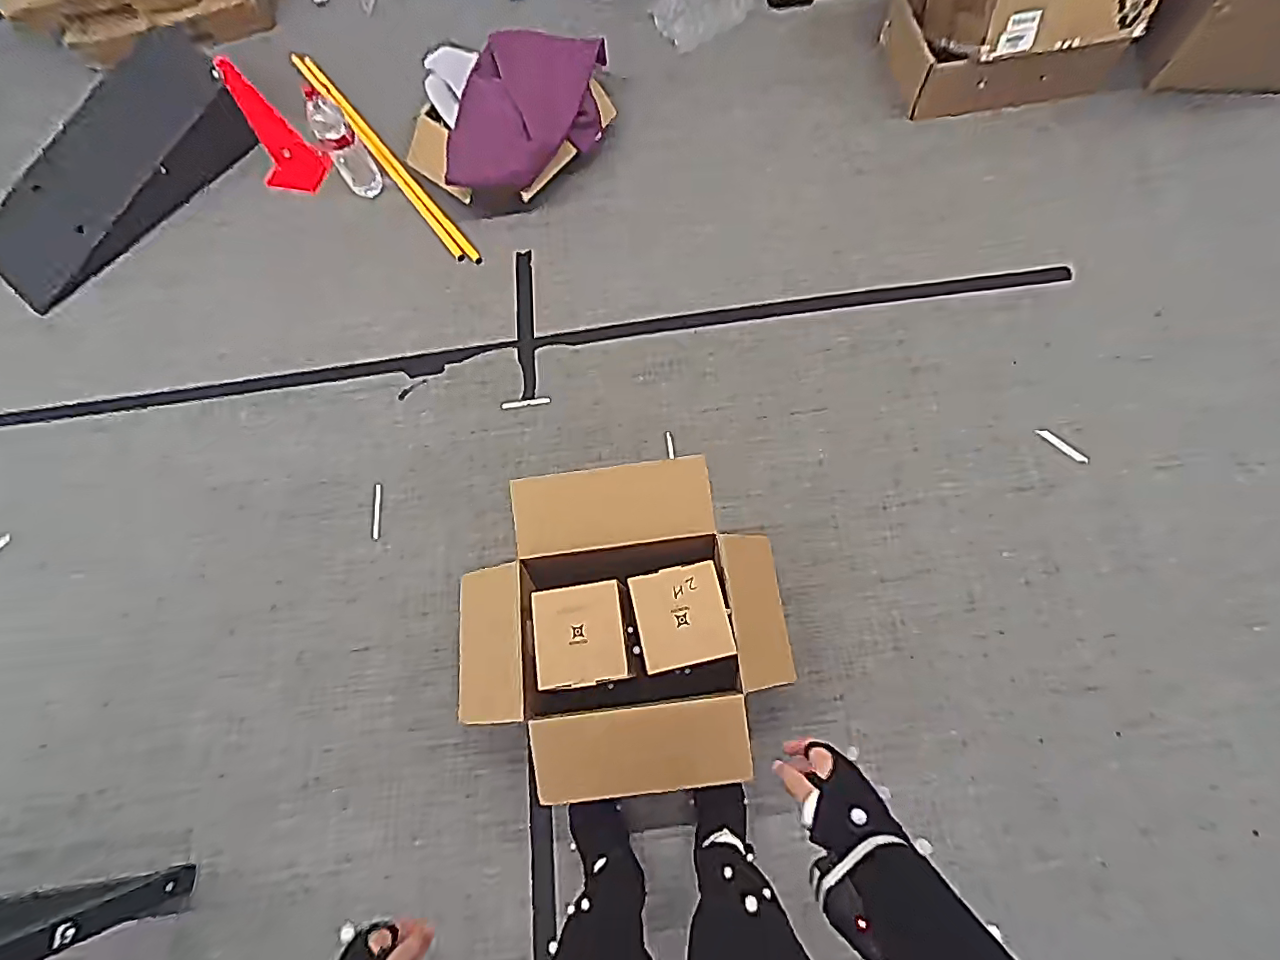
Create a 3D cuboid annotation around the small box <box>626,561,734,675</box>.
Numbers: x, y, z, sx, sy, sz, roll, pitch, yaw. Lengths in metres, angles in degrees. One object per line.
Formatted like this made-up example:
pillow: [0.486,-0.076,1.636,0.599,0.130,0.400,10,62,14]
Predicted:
small box: [0.072,0.271,1.055,0.168,0.176,0.179,-12,72,-5]
